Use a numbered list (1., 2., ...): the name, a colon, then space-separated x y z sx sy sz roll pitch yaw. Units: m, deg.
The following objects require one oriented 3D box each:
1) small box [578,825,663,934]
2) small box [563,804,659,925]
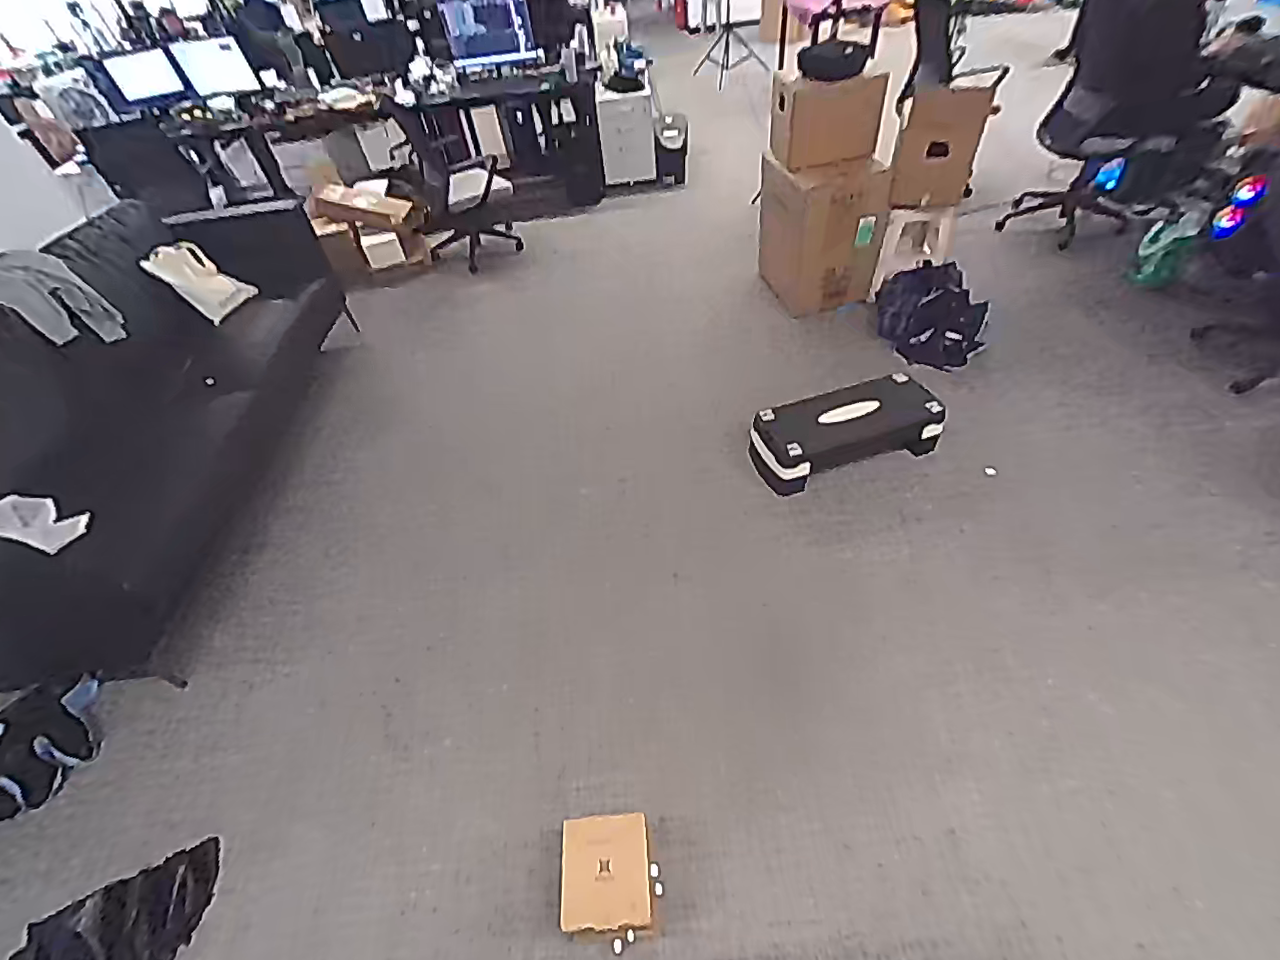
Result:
1. small box: -0.039 0.884 1.197 0.168 0.176 0.179 -6 48 4
2. small box: -0.053 0.772 1.081 0.168 0.176 0.179 -6 46 2
